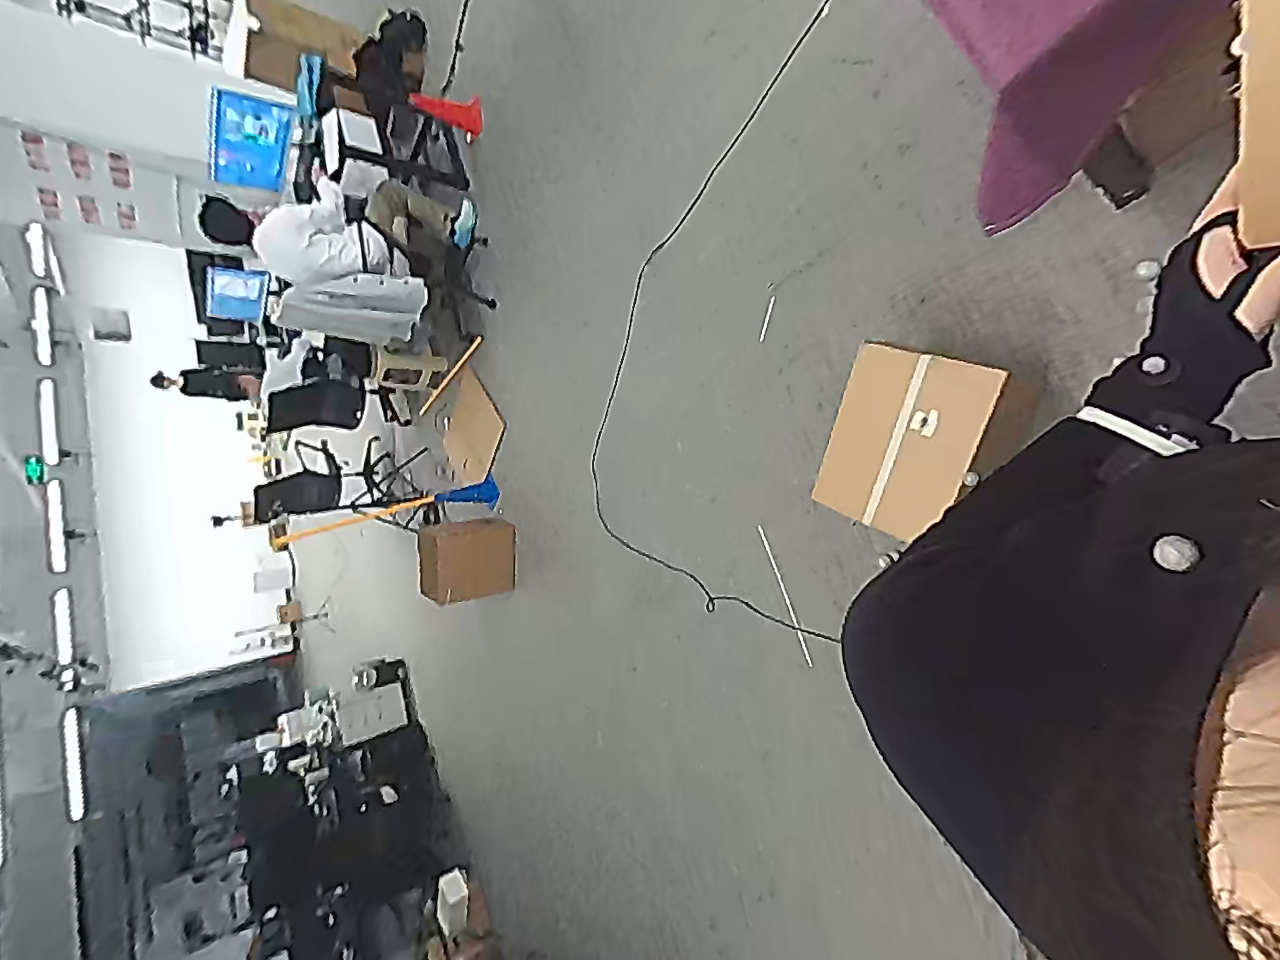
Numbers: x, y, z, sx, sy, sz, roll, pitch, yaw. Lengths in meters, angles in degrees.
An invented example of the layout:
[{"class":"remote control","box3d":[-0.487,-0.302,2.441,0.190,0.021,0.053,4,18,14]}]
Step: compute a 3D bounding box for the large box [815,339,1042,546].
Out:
[{"class":"large box","box3d":[0.687,-0.100,1.312,0.320,0.320,0.408,30,116,42]}]
